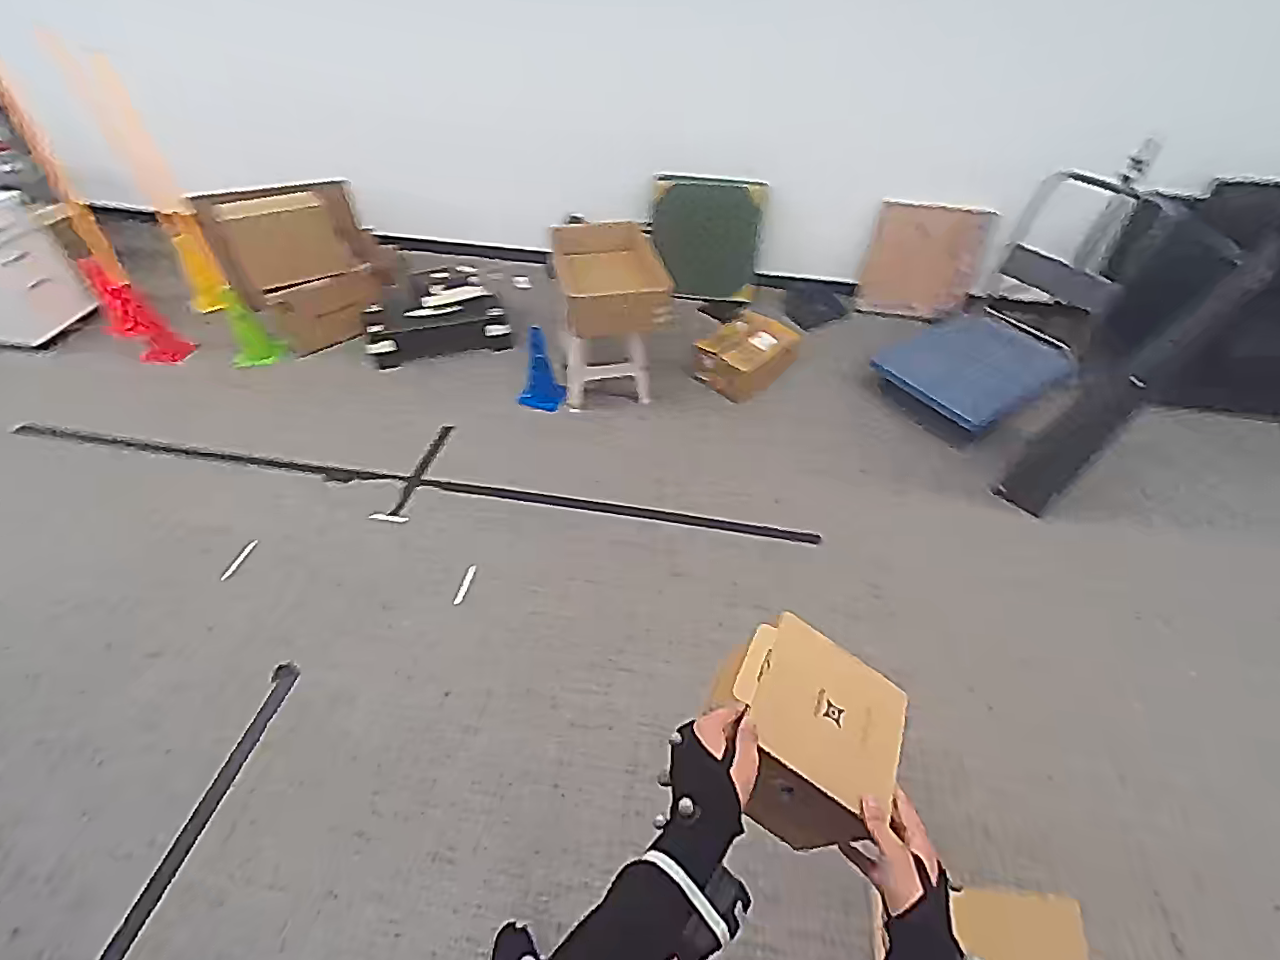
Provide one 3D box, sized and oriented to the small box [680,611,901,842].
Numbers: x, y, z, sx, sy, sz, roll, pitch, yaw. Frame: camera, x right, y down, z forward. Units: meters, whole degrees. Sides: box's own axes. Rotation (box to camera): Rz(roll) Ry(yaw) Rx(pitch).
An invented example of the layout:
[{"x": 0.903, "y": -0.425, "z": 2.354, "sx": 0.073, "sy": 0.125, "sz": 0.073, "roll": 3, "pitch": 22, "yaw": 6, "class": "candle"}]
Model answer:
[{"x": 0.171, "y": 0.296, "z": 0.640, "sx": 0.179, "sy": 0.176, "sz": 0.168, "roll": 33, "pitch": 47, "yaw": 5, "class": "small box"}]
